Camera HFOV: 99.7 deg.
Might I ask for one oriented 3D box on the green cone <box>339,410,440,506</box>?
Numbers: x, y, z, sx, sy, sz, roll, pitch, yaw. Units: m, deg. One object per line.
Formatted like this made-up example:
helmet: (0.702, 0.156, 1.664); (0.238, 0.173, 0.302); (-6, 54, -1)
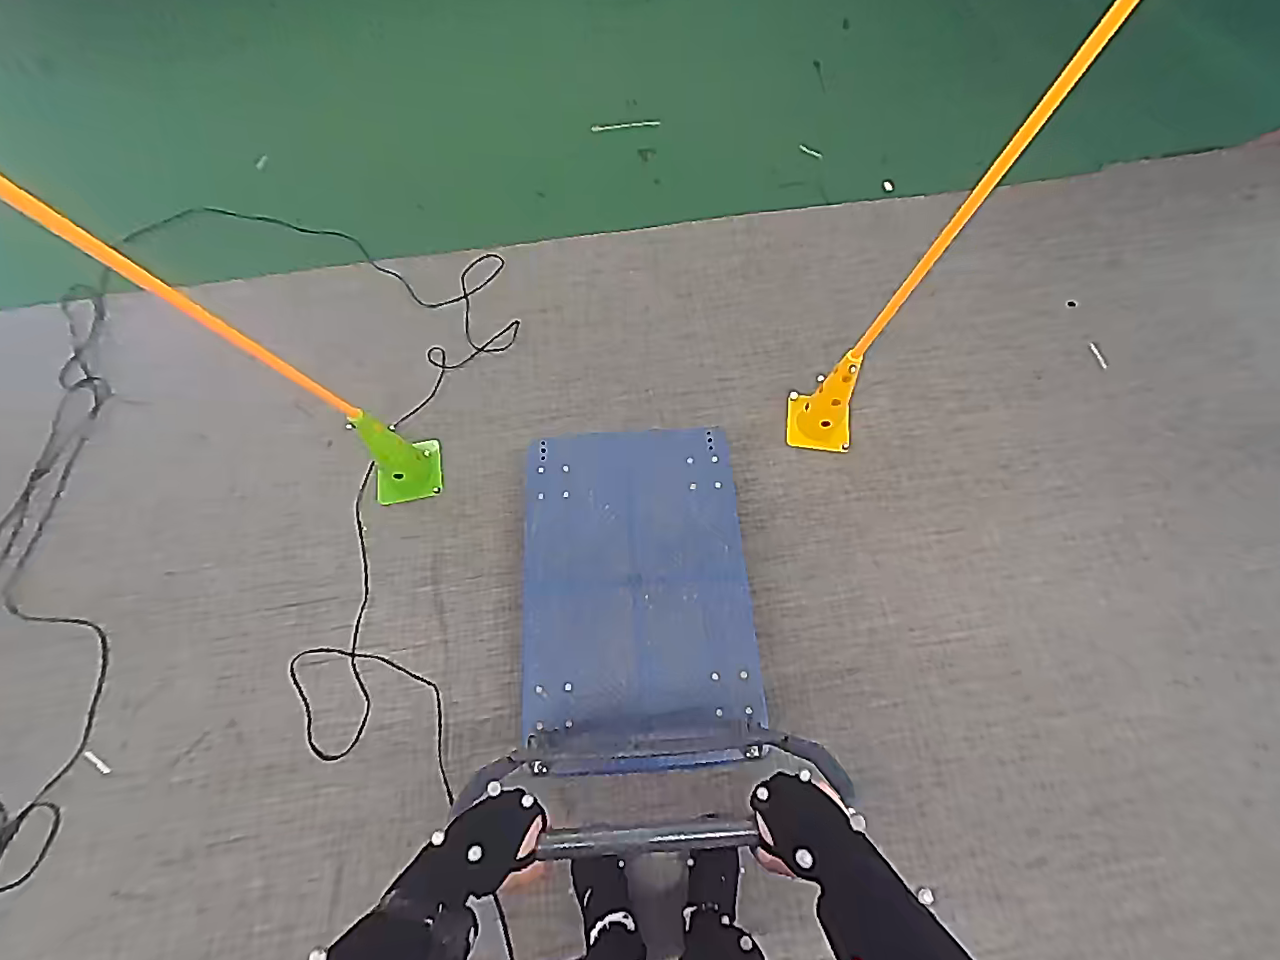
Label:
green cone: (-0.746, -0.095, 1.556); (0.202, 0.368, 0.200); (-12, 65, -3)
